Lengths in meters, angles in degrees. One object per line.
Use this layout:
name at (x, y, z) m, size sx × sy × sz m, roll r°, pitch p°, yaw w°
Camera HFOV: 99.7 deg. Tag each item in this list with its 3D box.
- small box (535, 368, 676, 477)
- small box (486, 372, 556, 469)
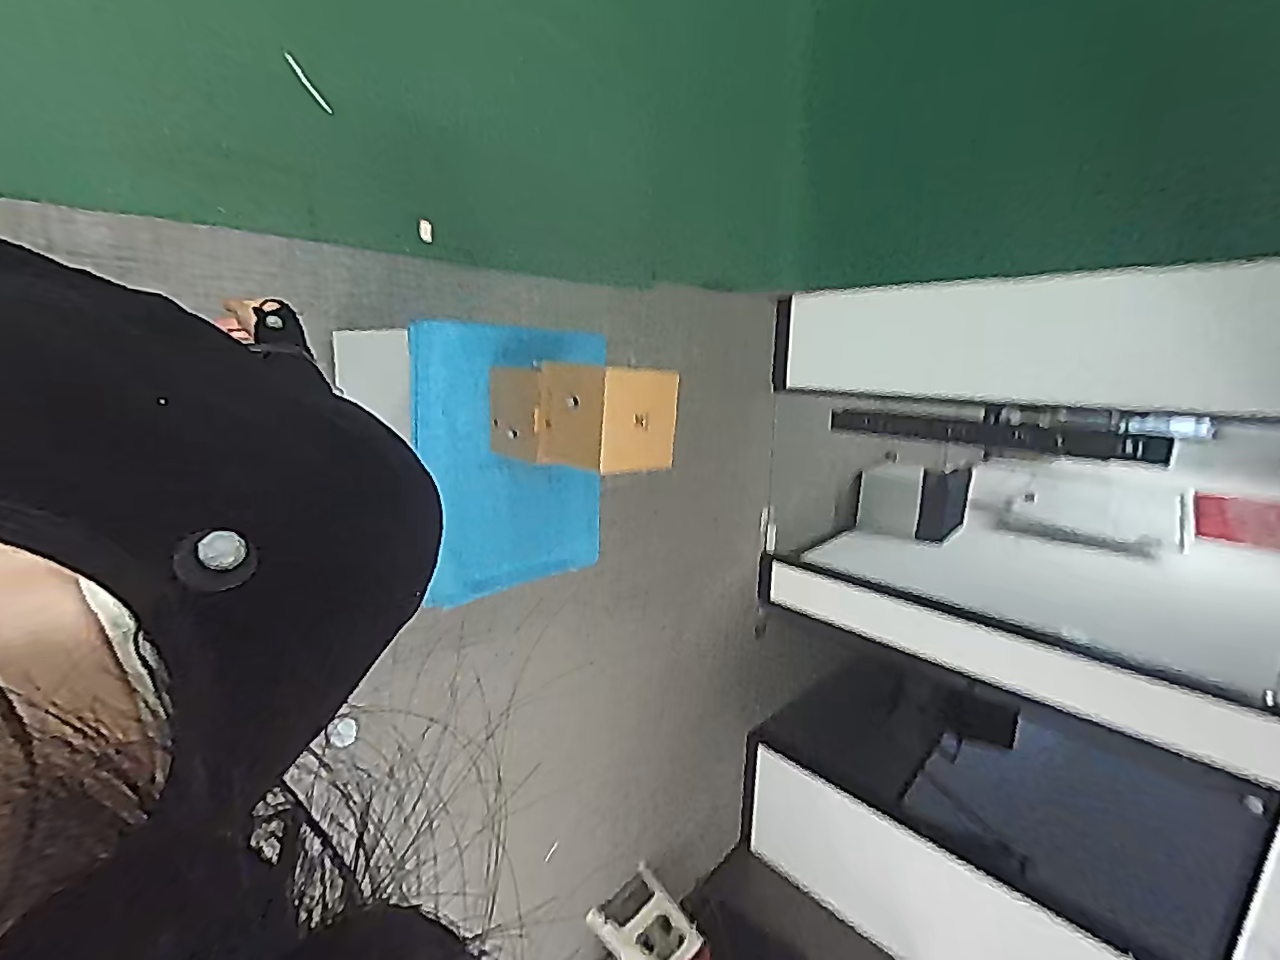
small box at (-0.063, -0.102, 0.931) m, size 0.179 × 0.176 × 0.168 m, roll -7°, pitch 106°, yaw -47°
small box at (-0.180, -0.119, 1.042) m, size 0.179 × 0.176 × 0.168 m, roll -8°, pitch 107°, yaw -46°
